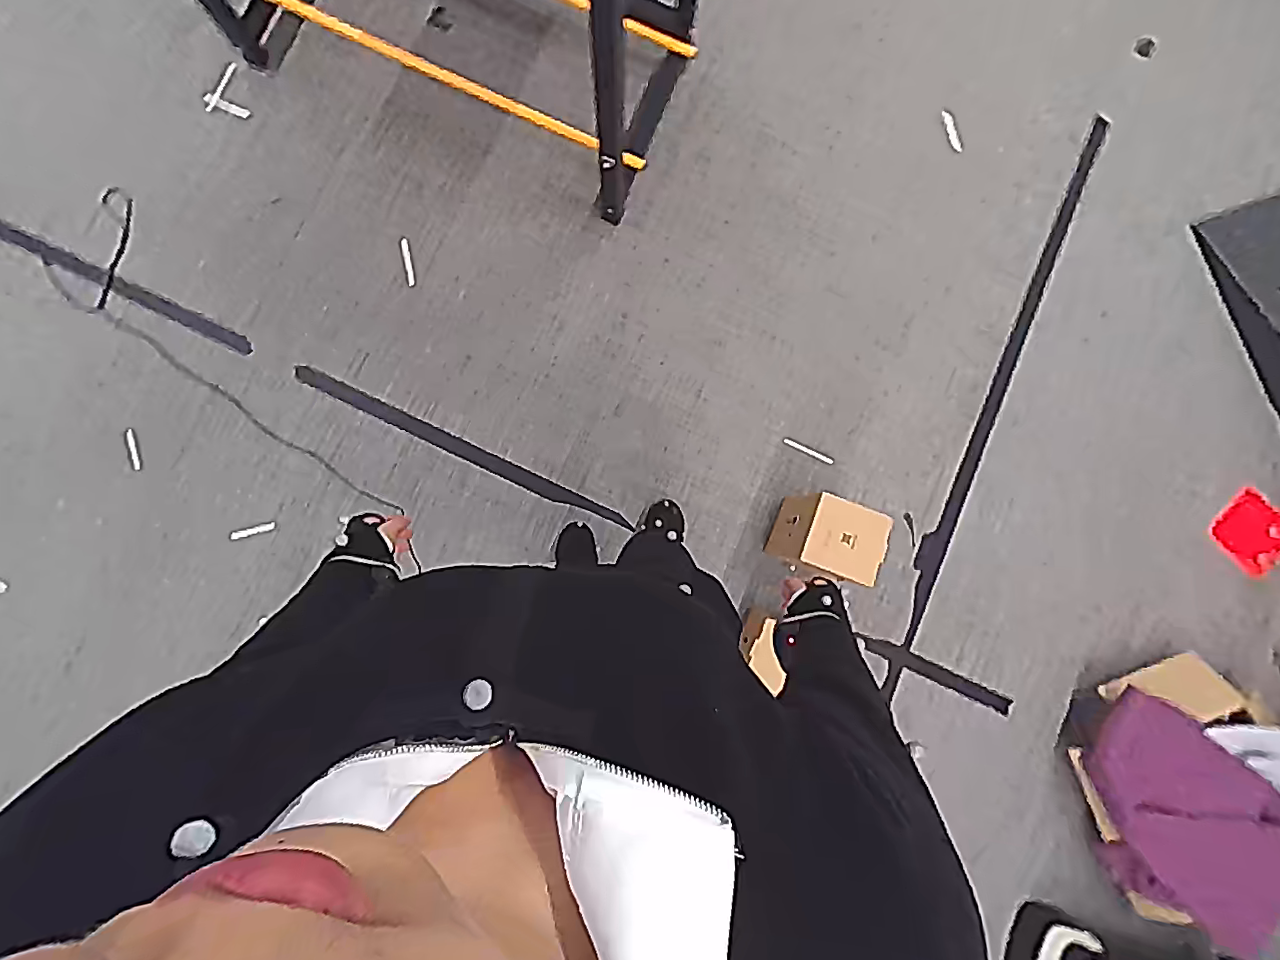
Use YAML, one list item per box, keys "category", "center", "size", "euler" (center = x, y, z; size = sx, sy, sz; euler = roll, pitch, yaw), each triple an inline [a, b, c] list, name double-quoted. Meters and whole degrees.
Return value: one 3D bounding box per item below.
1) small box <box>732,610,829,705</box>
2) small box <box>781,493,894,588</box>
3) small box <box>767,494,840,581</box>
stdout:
- category: "small box"
  center: [0.359, 0.455, 1.417]
  size: [0.179, 0.176, 0.168]
  euler: [25, 85, 1]
- category: "small box"
  center: [0.459, 0.141, 1.280]
  size: [0.179, 0.176, 0.168]
  euler: [20, 83, 1]
- category: "small box"
  center: [0.458, 0.151, 1.443]
  size: [0.168, 0.176, 0.179]
  euler: [23, 86, 0]
